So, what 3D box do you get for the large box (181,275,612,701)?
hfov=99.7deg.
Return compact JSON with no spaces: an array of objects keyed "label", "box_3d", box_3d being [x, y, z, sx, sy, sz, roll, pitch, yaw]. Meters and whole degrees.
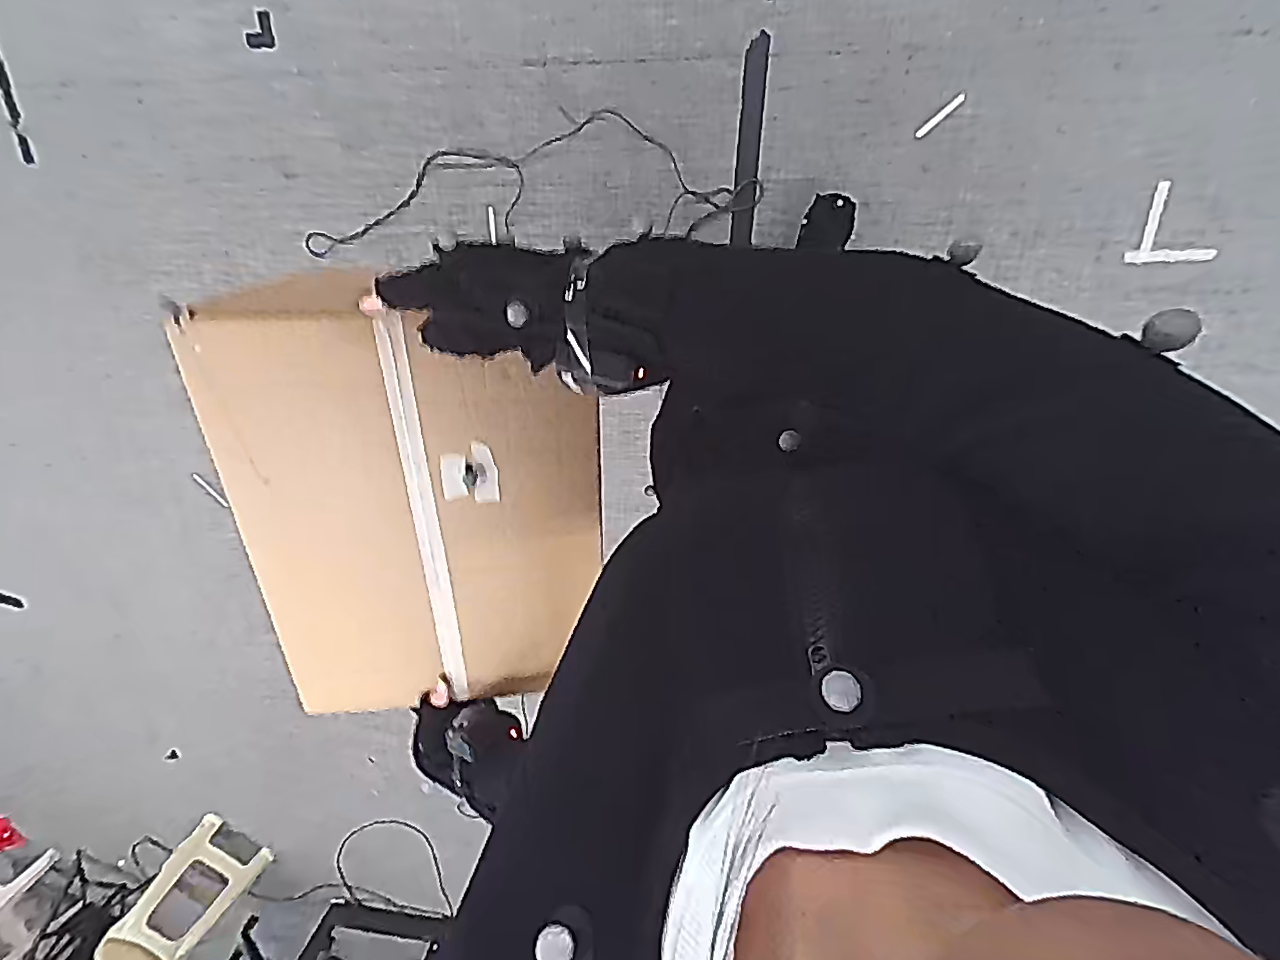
[{"label":"large box","box_3d":[-0.209,-0.016,0.639,0.320,0.320,0.408,-5,115,-7]}]
